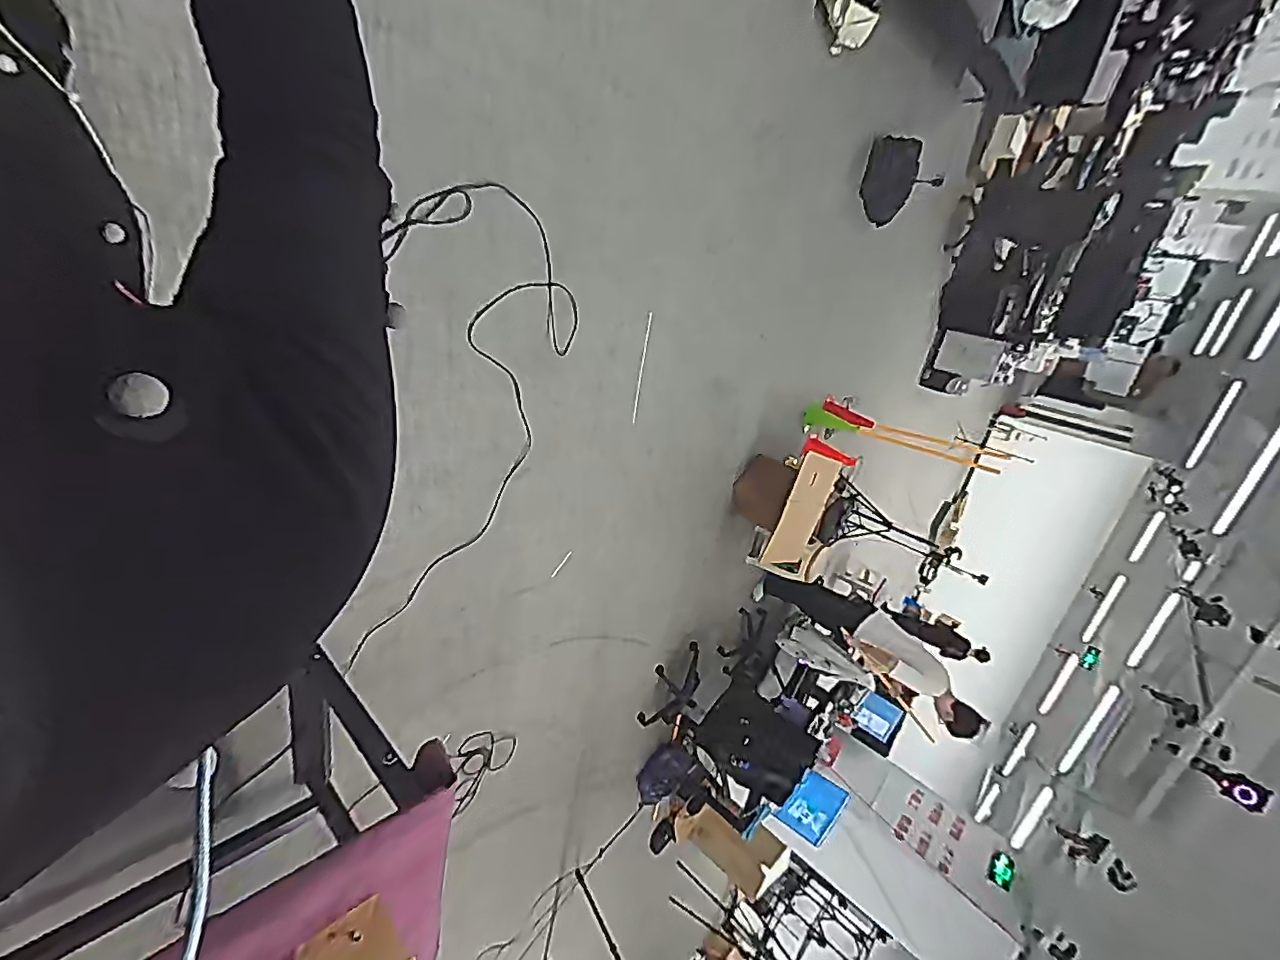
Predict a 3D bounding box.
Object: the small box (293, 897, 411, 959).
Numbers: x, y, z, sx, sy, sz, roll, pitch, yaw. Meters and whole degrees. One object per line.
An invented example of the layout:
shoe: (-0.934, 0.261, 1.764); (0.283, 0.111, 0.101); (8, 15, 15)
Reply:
small box: (-0.590, 1.017, 1.101); (0.168, 0.176, 0.179); (-9, 119, -49)
